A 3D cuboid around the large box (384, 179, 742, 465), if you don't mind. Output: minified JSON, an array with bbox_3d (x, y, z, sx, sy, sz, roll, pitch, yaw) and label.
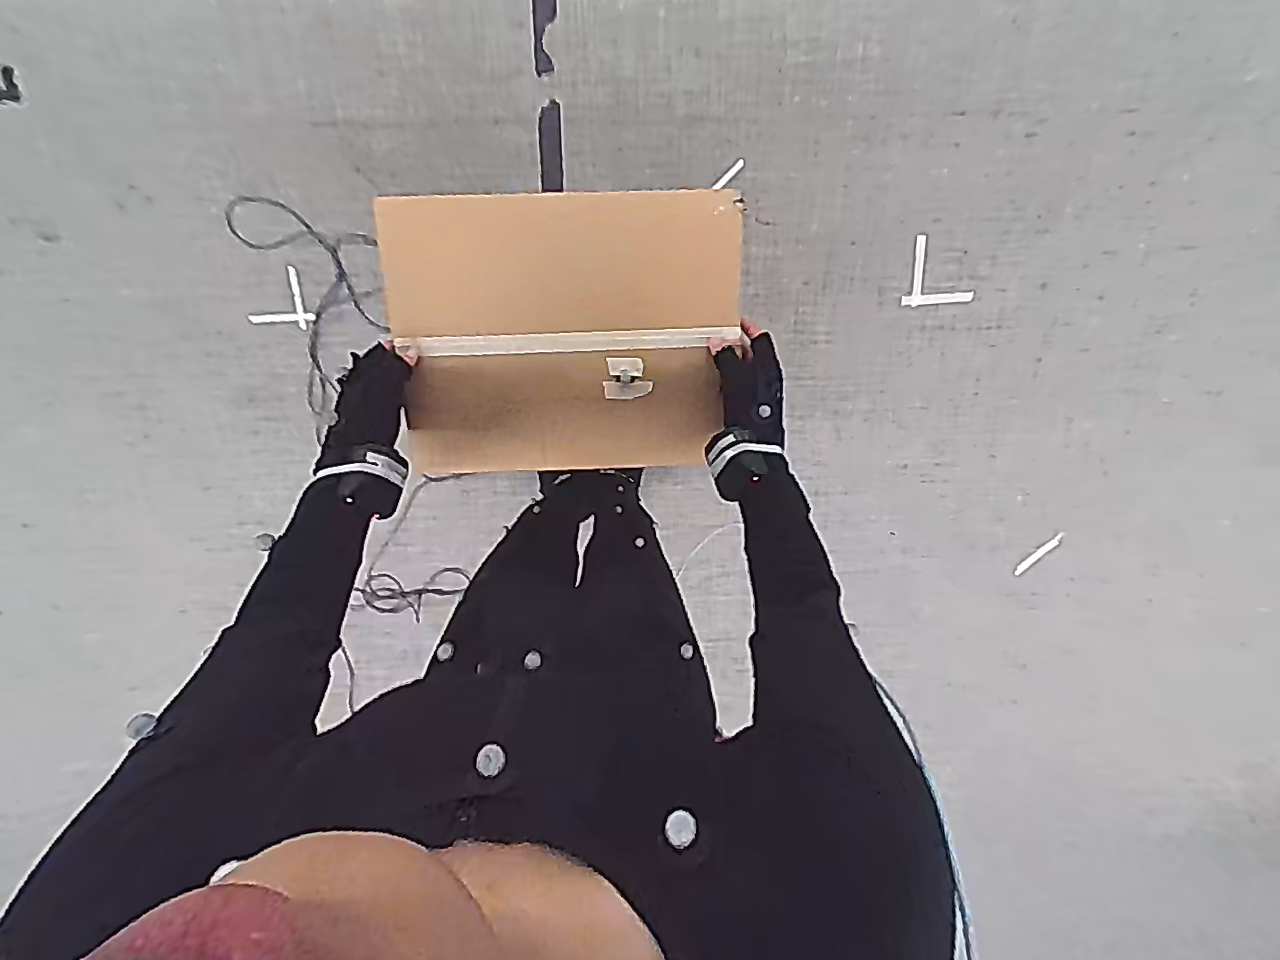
[{"bbox_3d":[-0.085,-0.218,0.781,0.408,0.320,0.320,-3,107,-2],"label":"large box"}]
